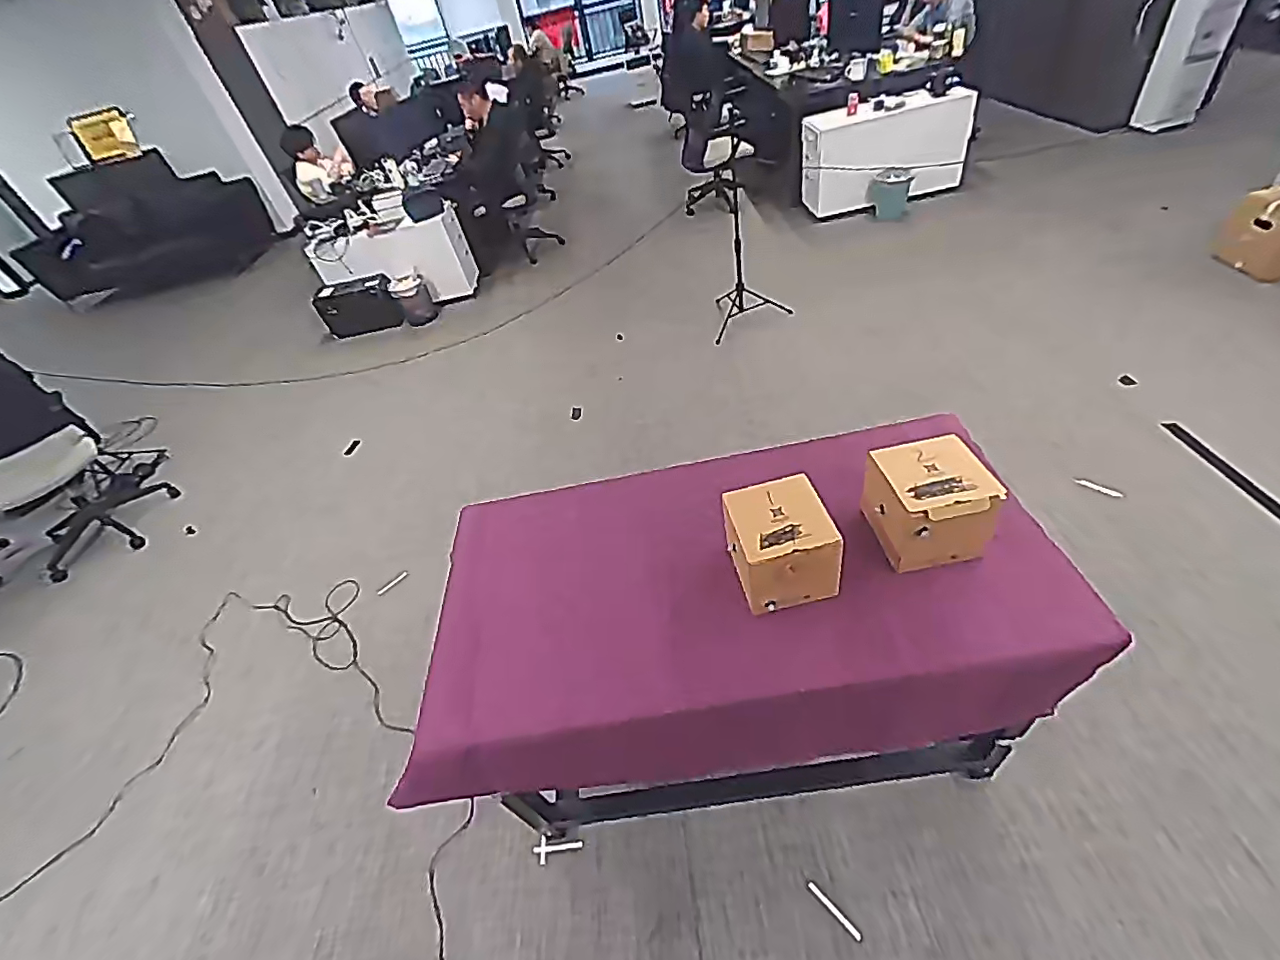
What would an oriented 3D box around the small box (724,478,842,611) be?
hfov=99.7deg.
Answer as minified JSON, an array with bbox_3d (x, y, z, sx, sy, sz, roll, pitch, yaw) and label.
[{"bbox_3d":[0.266,0.128,1.022,0.168,0.176,0.179,-14,42,1],"label":"small box"}]
